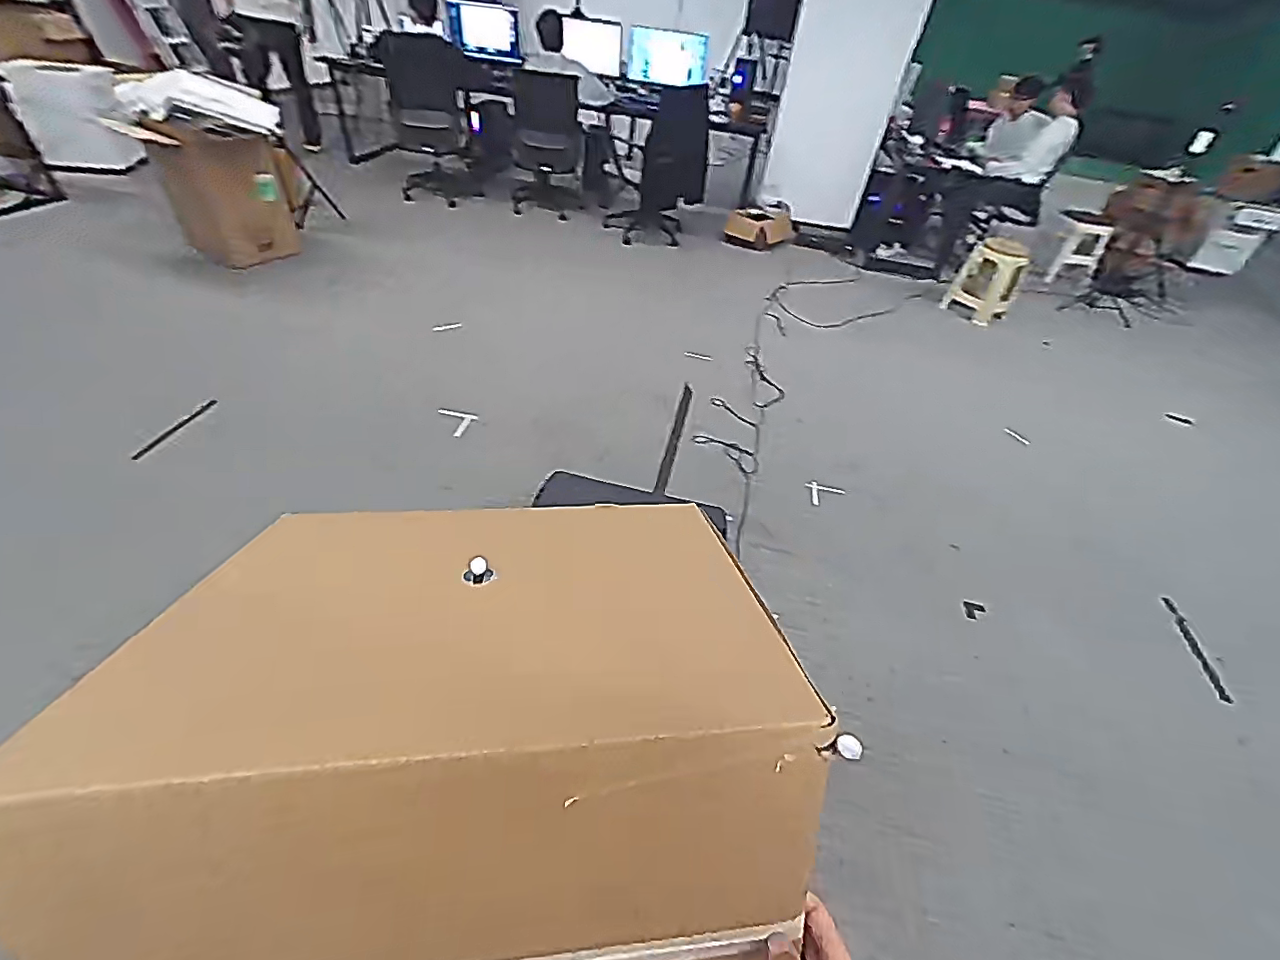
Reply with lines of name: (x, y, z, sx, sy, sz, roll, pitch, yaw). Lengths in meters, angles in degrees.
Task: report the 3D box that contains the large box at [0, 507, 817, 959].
large box: (-0.121, 0.225, 0.458, 0.408, 0.320, 0.320, -2, 21, -8)
